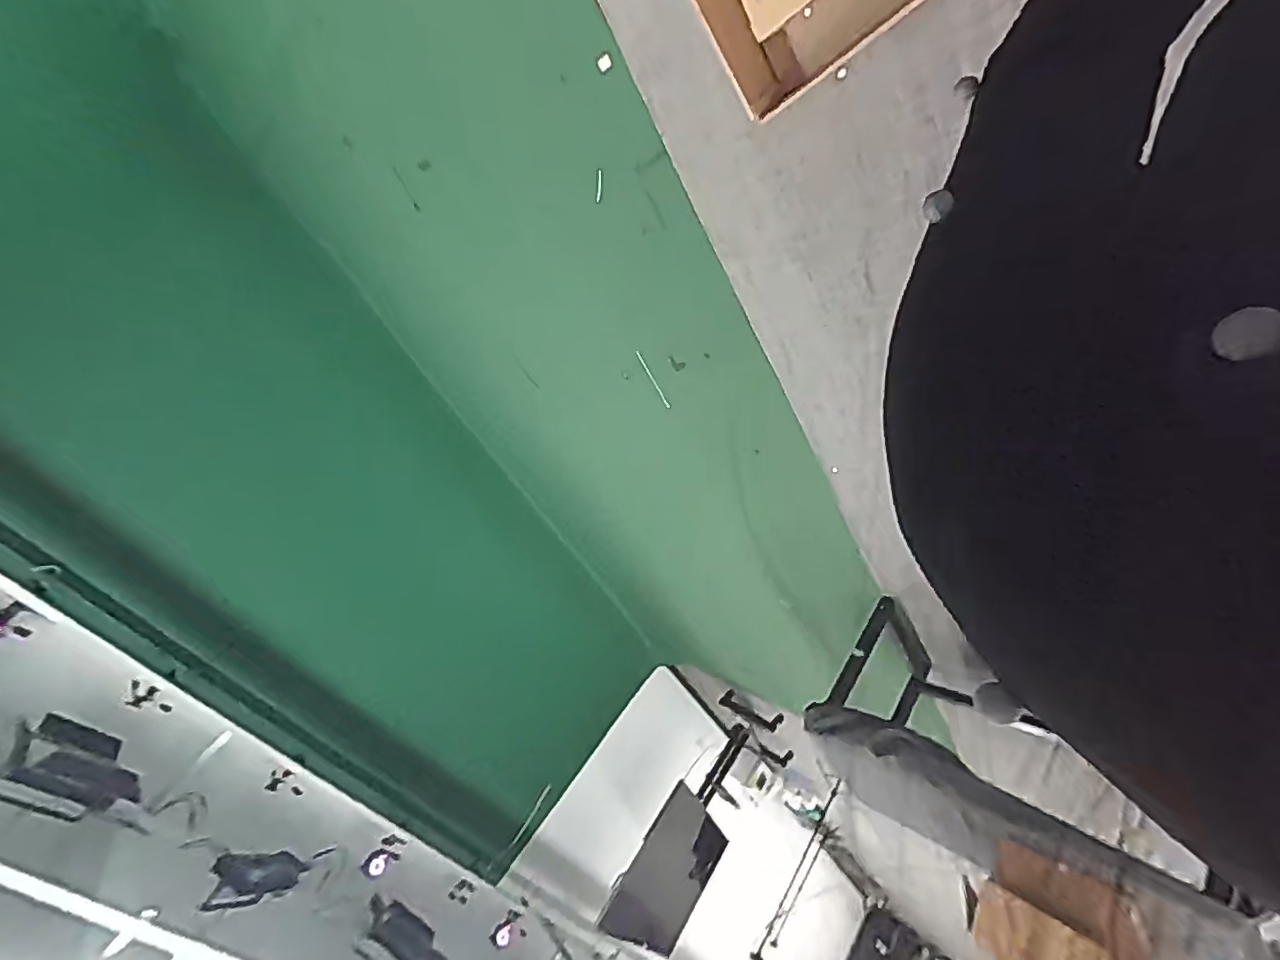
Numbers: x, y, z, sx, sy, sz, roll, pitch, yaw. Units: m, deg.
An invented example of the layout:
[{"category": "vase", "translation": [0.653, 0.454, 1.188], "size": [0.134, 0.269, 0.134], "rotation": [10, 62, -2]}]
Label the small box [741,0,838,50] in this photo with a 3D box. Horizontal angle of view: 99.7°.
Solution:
[{"category": "small box", "translation": [0.266, -0.845, 0.860], "size": [0.179, 0.176, 0.168], "rotation": [0, 132, 53]}]
